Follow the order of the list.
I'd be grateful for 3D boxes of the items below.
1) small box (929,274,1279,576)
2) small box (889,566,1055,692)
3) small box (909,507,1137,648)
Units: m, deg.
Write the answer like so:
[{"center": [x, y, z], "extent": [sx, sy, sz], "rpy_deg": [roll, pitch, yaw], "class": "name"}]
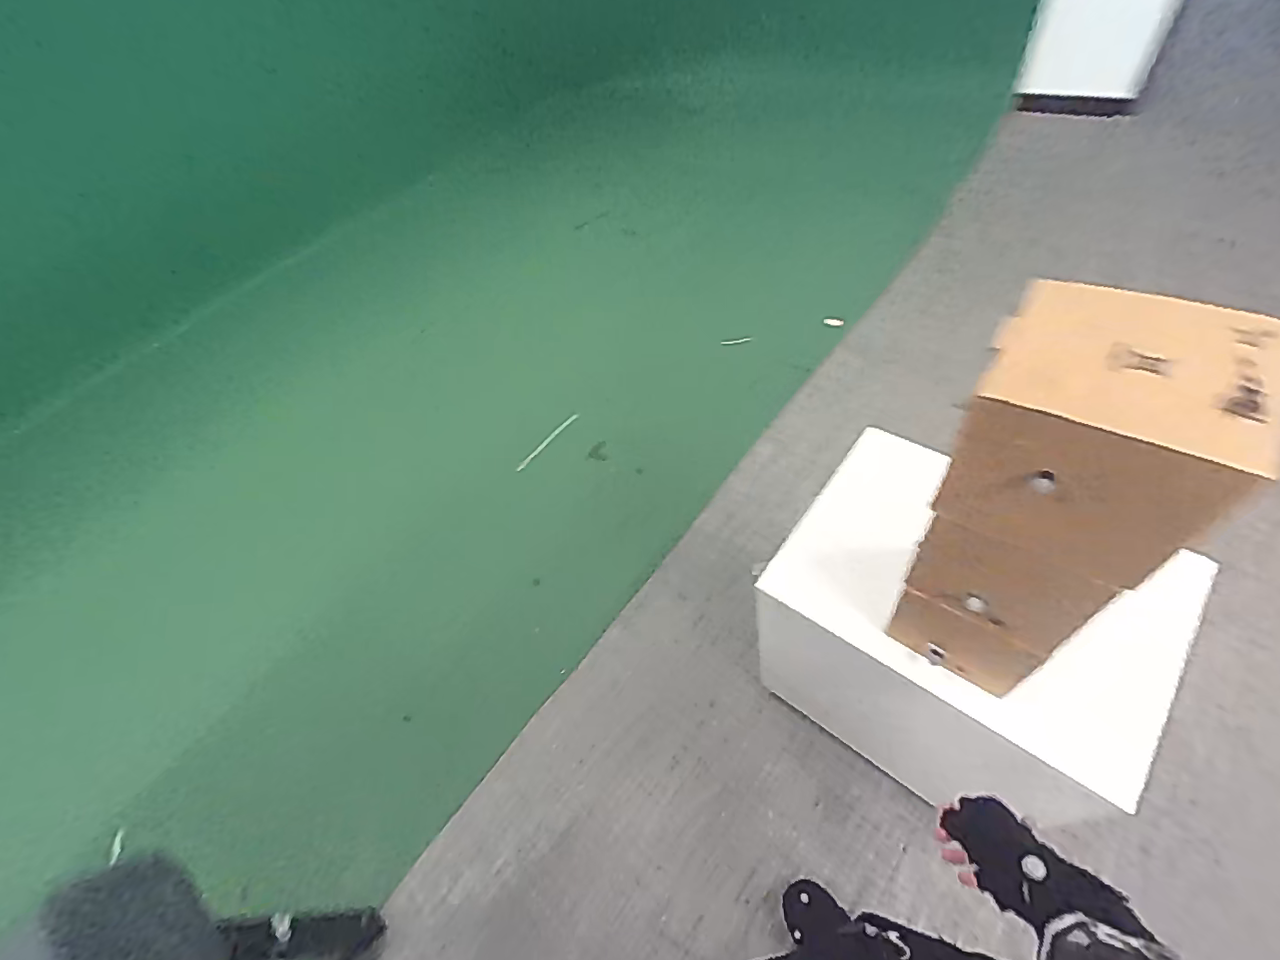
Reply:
[{"center": [0.376, -0.045, 0.465], "extent": [0.179, 0.176, 0.168], "rpy_deg": [25, 64, 31], "class": "small box"}, {"center": [0.451, 0.147, 0.719], "extent": [0.168, 0.176, 0.179], "rpy_deg": [26, 66, 31], "class": "small box"}, {"center": [0.418, 0.048, 0.593], "extent": [0.168, 0.176, 0.179], "rpy_deg": [25, 62, 29], "class": "small box"}]
